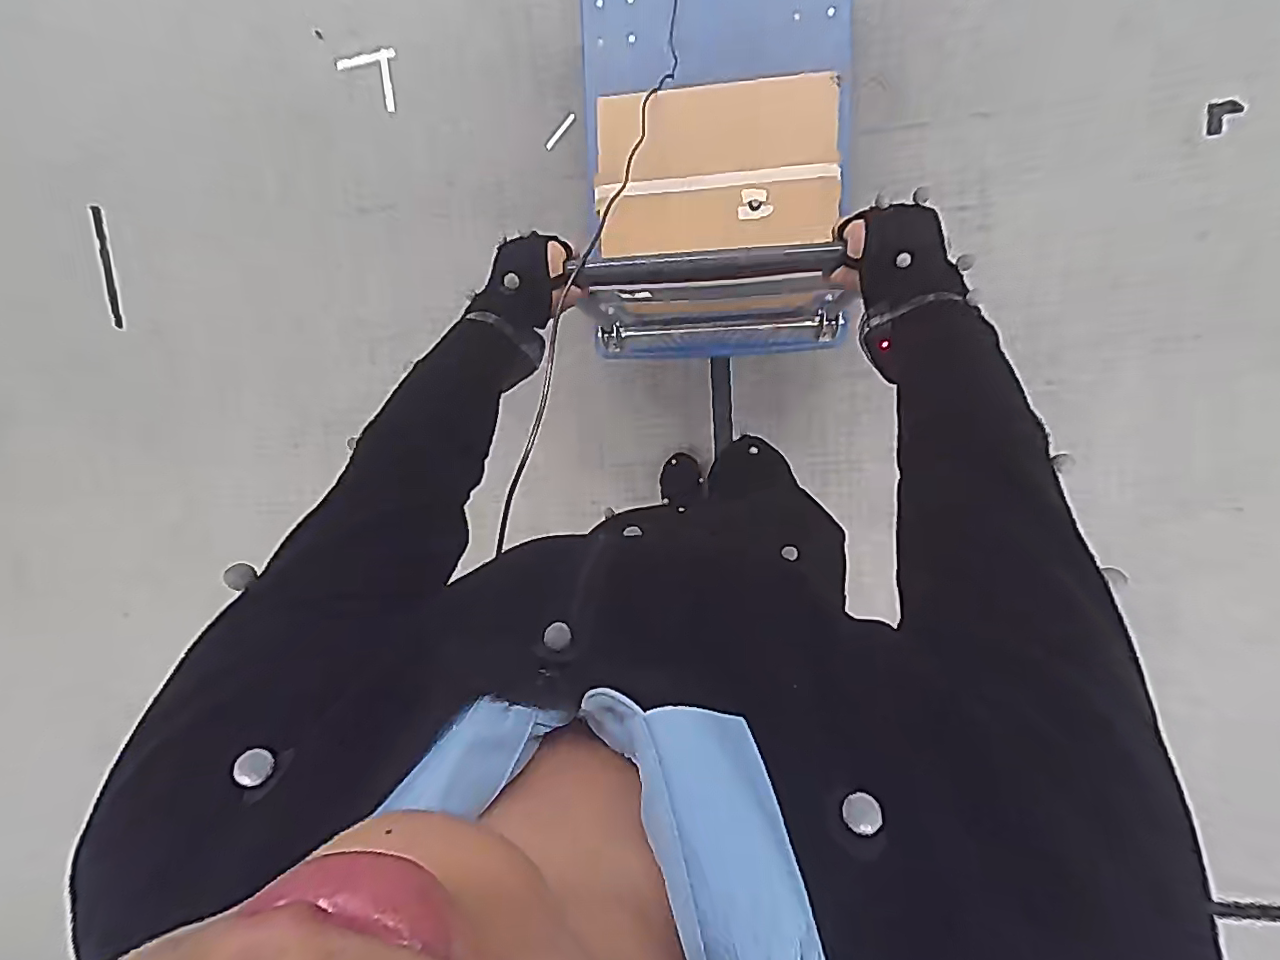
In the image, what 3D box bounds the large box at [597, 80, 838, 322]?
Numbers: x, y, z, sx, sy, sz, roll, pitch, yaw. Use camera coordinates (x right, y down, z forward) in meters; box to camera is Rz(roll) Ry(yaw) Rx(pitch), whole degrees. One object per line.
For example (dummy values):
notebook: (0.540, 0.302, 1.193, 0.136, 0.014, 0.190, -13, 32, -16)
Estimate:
large box: (0.146, -0.506, 1.061, 0.408, 0.320, 0.320, -1, 96, 7)
